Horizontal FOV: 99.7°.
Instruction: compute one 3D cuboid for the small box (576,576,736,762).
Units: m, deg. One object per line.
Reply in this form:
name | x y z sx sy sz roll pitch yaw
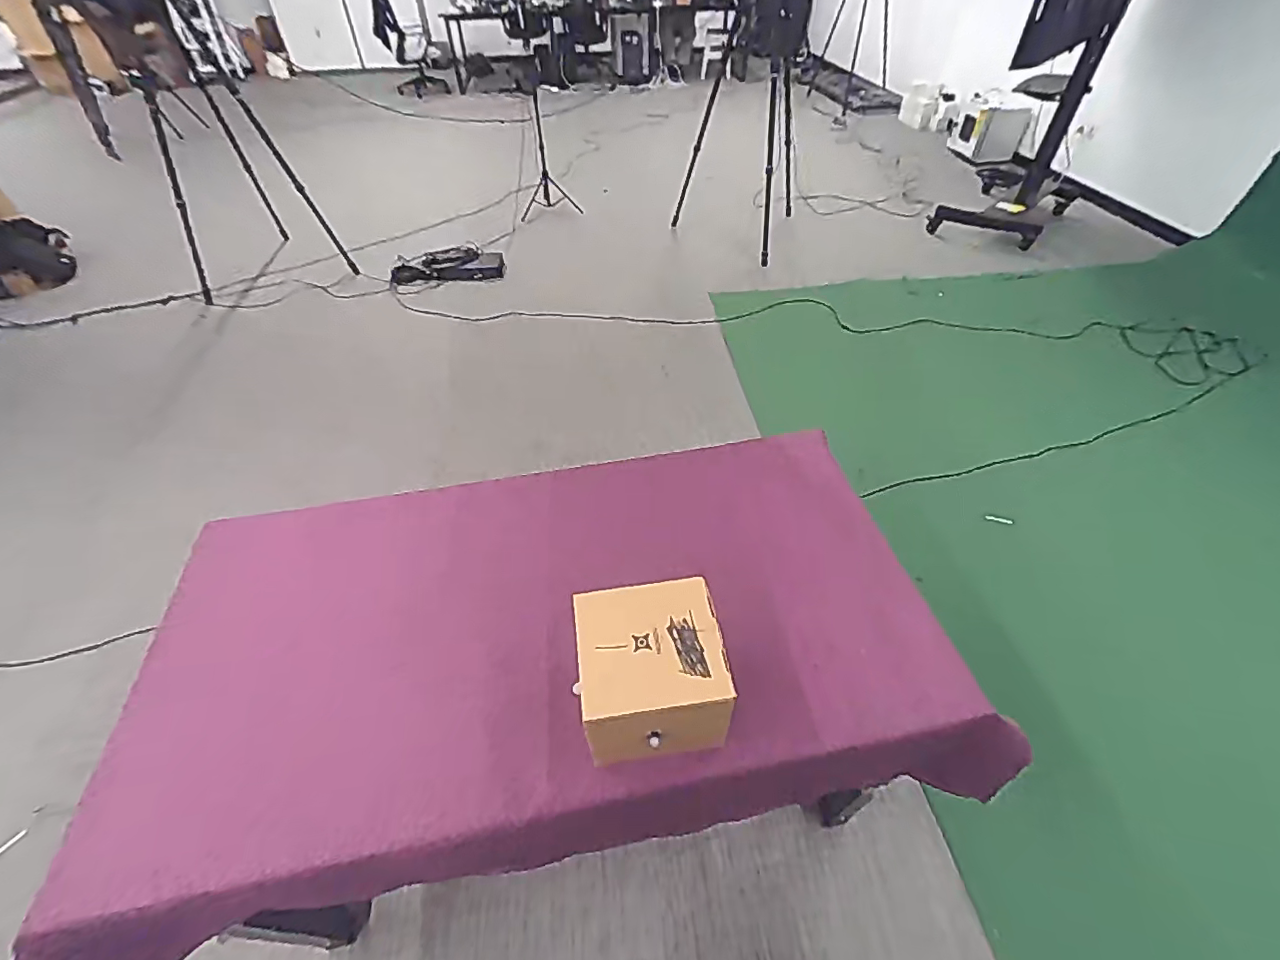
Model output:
small box | 0.014 0.249 0.710 0.179 0.176 0.168 -7 47 -4
